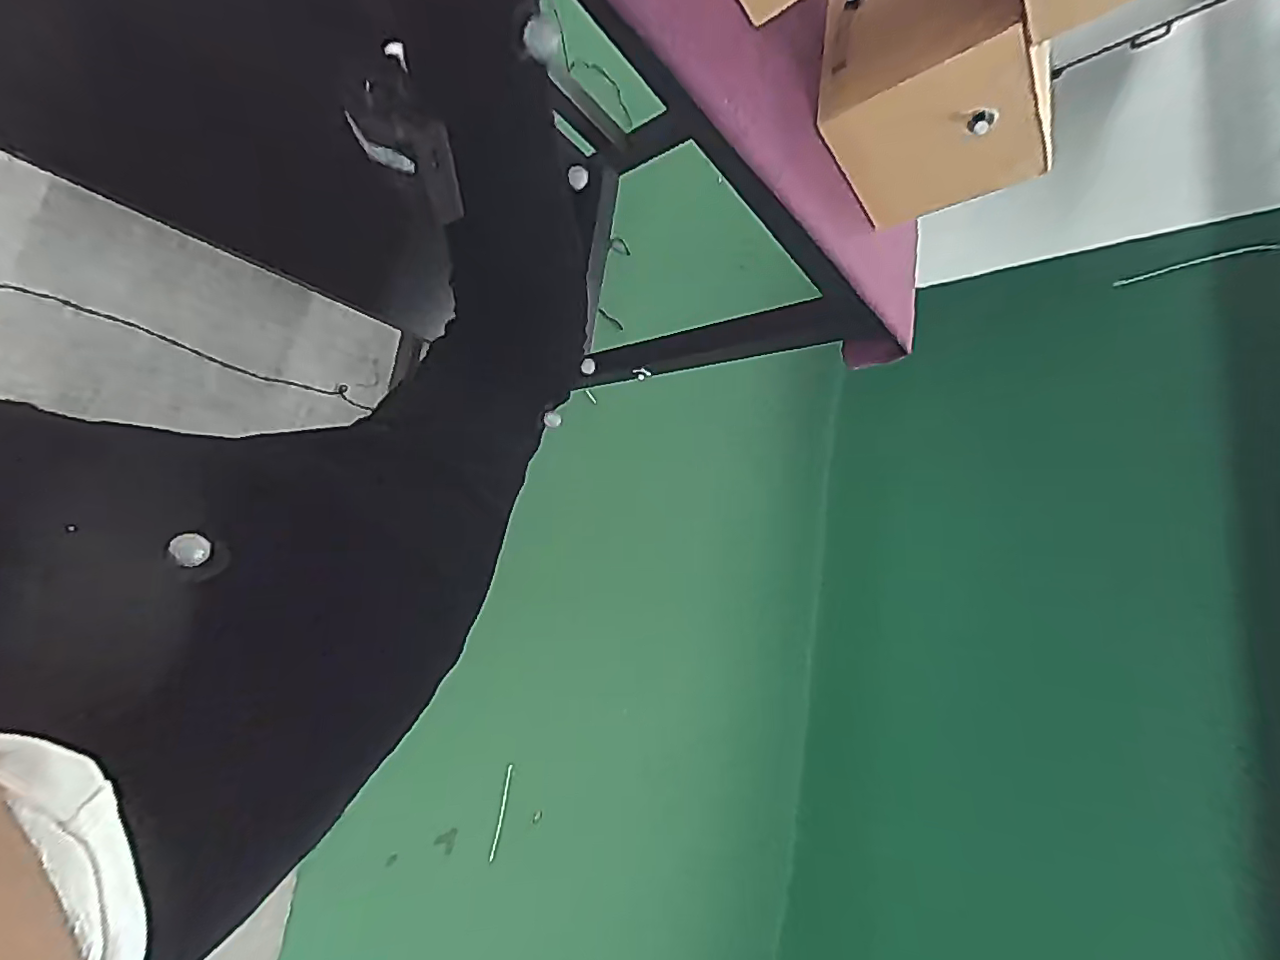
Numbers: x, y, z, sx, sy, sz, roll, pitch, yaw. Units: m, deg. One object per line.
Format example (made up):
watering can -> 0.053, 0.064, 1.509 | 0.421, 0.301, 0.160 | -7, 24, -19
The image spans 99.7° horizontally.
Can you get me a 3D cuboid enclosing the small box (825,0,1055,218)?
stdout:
small box -> 0.298, -0.399, 0.539 | 0.179, 0.176, 0.168 | 21, 73, -46
